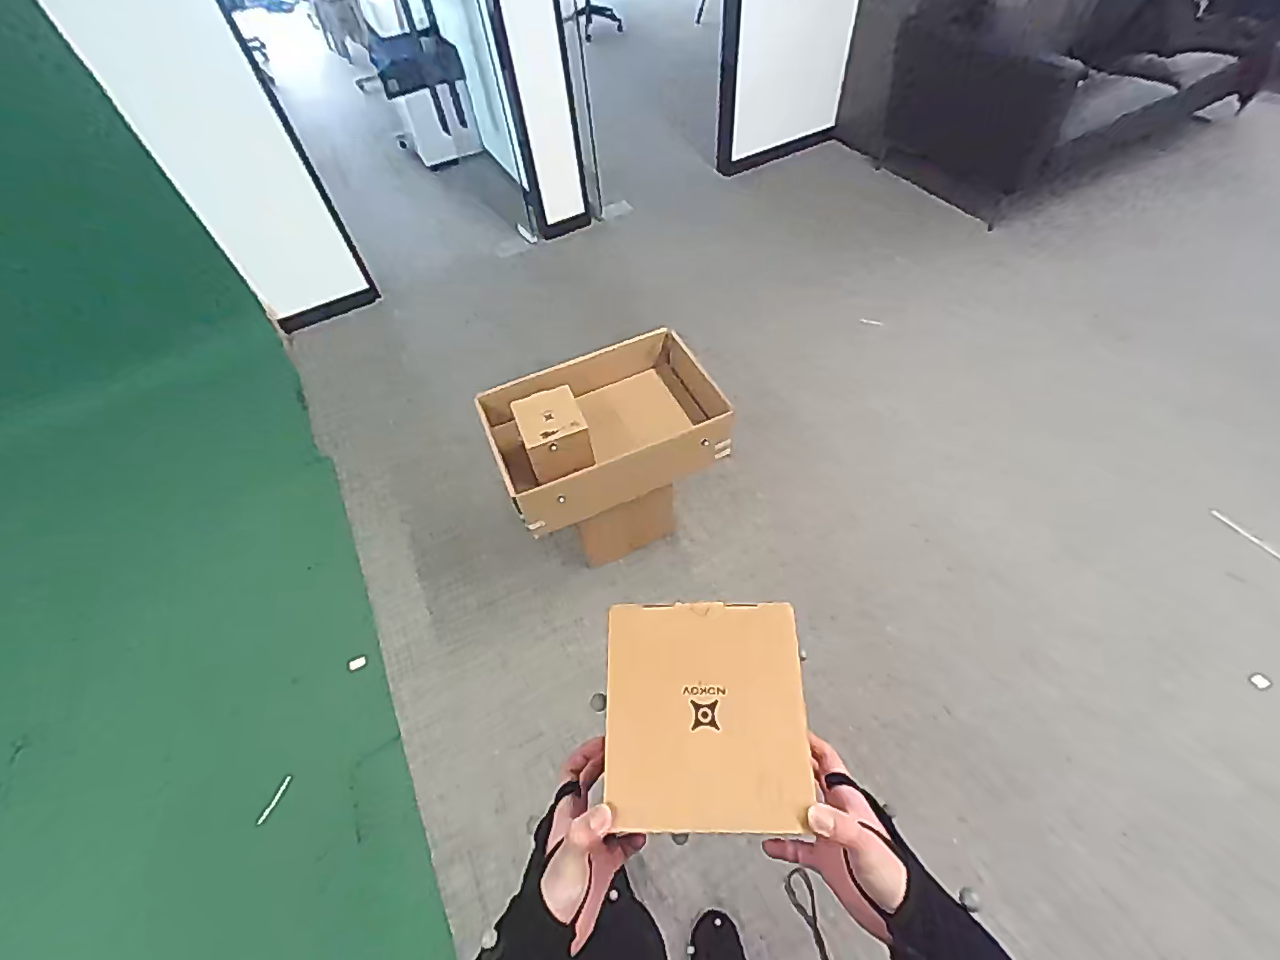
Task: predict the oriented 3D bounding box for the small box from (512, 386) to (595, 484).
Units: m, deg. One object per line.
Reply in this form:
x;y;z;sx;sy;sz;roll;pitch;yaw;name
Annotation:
-0.232;-0.119;1.467;0.168;0.176;0.179;-20;55;-9;small box

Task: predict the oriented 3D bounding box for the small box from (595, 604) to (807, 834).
0.053;0.225;0.519;0.168;0.176;0.179;-1;62;3;small box
